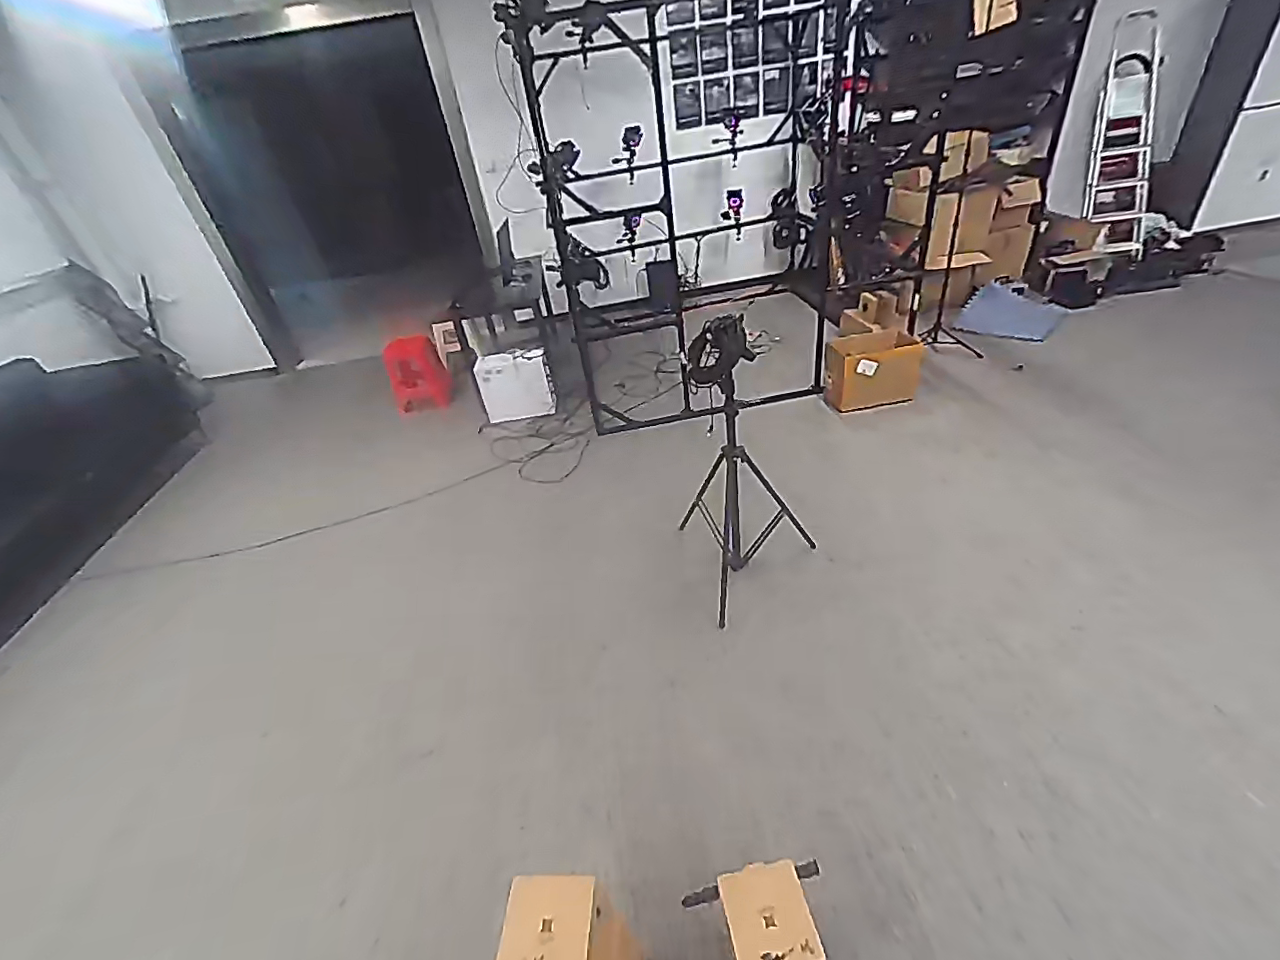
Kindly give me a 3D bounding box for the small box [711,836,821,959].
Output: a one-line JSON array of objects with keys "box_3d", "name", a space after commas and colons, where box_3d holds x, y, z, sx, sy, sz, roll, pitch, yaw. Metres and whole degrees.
[{"box_3d": [0.246, 0.864, 1.090, 0.168, 0.176, 0.179, -12, 35, -3], "name": "small box"}]
